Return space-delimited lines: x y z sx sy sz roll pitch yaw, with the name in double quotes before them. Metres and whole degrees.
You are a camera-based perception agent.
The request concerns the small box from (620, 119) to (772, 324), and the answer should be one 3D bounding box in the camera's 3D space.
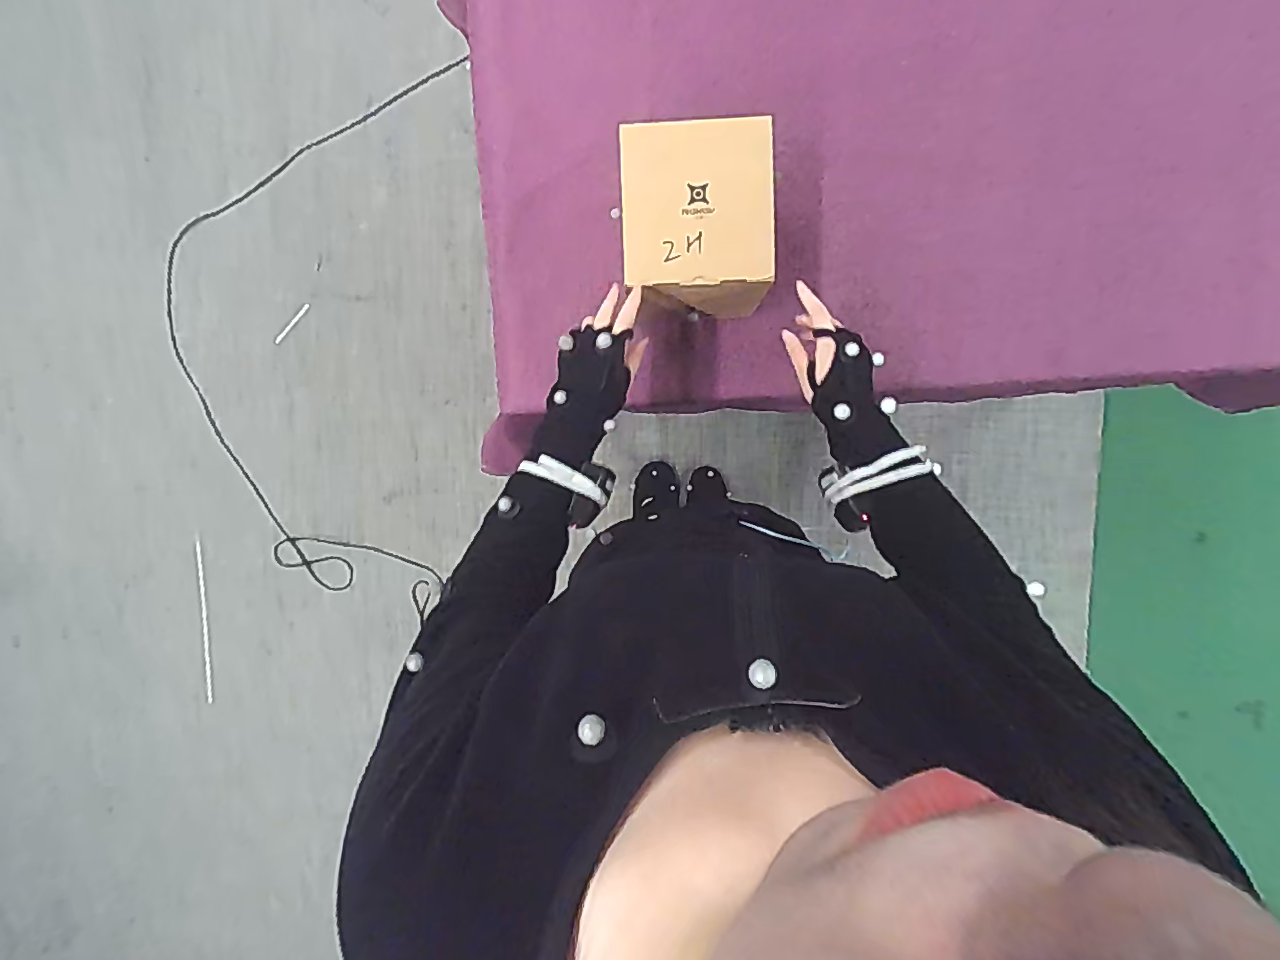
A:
"small box" 0.063 -0.302 0.665 0.168 0.176 0.179 -2 93 3
